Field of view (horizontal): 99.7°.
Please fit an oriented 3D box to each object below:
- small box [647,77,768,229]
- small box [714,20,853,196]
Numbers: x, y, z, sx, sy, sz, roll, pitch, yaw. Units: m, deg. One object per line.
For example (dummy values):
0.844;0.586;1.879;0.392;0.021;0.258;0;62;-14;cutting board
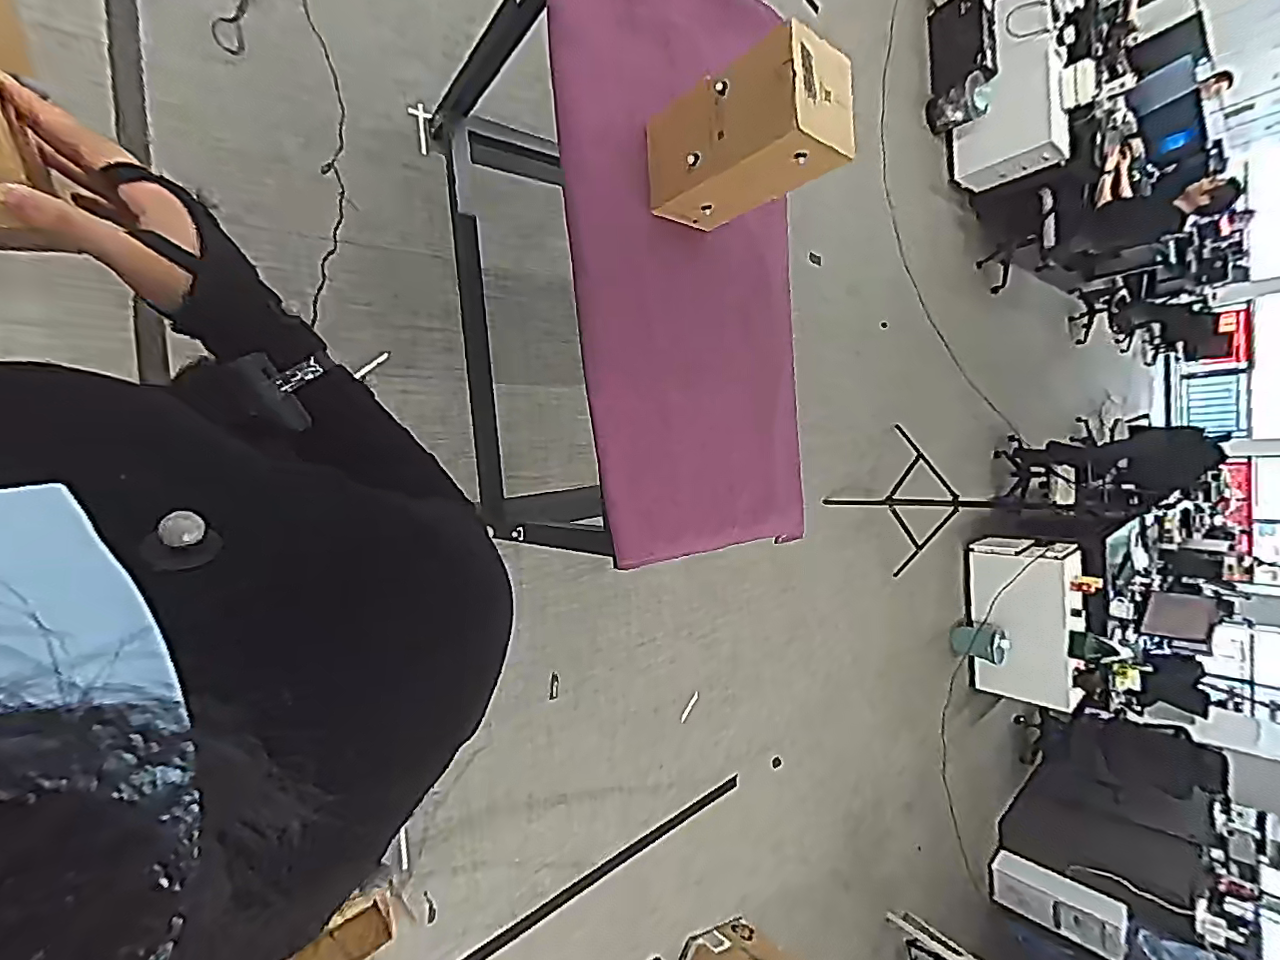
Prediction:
0.128;-0.613;1.044;0.168;0.176;0.179;-5;93;-40;small box
0.239;-0.613;0.923;0.179;0.176;0.168;-8;95;-40;small box
